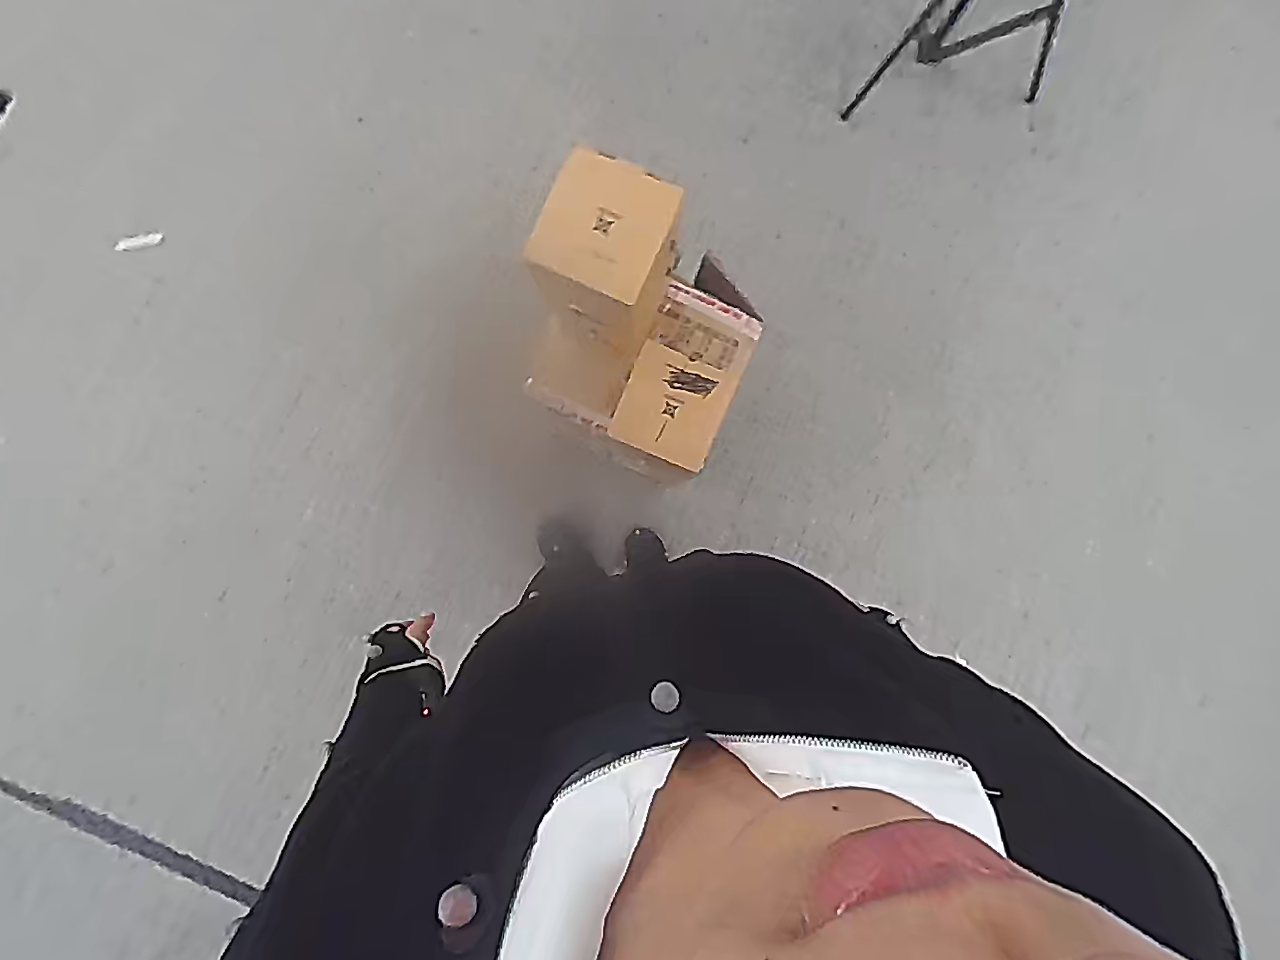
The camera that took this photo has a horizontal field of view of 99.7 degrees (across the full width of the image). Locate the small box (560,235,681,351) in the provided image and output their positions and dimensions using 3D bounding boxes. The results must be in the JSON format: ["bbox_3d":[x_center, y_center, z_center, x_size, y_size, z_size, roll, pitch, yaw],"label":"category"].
[{"bbox_3d":[-0.043,-0.356,0.959,0.168,0.176,0.179,25,88,0],"label":"small box"}]

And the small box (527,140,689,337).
[{"bbox_3d":[-0.044,-0.340,0.795,0.168,0.176,0.179,24,89,1],"label":"small box"}]

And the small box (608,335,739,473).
[{"bbox_3d":[0.051,-0.123,0.953,0.168,0.176,0.179,24,88,-1],"label":"small box"}]
